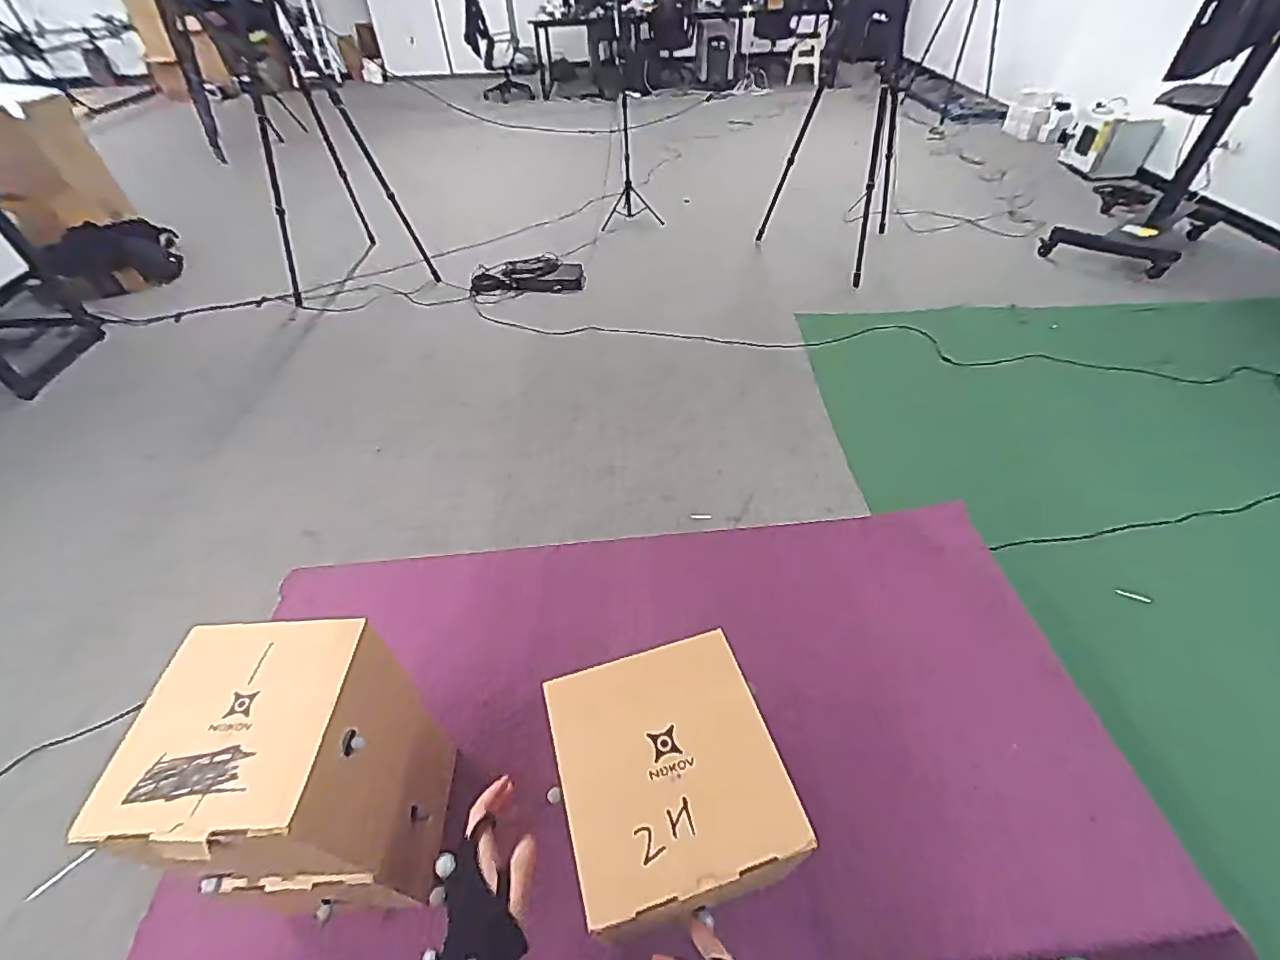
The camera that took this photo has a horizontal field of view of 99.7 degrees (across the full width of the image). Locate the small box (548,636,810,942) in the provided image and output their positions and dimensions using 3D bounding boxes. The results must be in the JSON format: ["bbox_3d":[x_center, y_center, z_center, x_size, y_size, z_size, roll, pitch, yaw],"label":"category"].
[{"bbox_3d":[0.021,0.272,0.478,0.168,0.176,0.179,-13,49,-10],"label":"small box"}]

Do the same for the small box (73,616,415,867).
[{"bbox_3d":[-0.334,0.249,0.509,0.168,0.176,0.179,-1,45,0],"label":"small box"}]

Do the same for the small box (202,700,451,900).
[{"bbox_3d":[-0.333,0.368,0.622,0.168,0.176,0.179,-2,47,-1],"label":"small box"}]
